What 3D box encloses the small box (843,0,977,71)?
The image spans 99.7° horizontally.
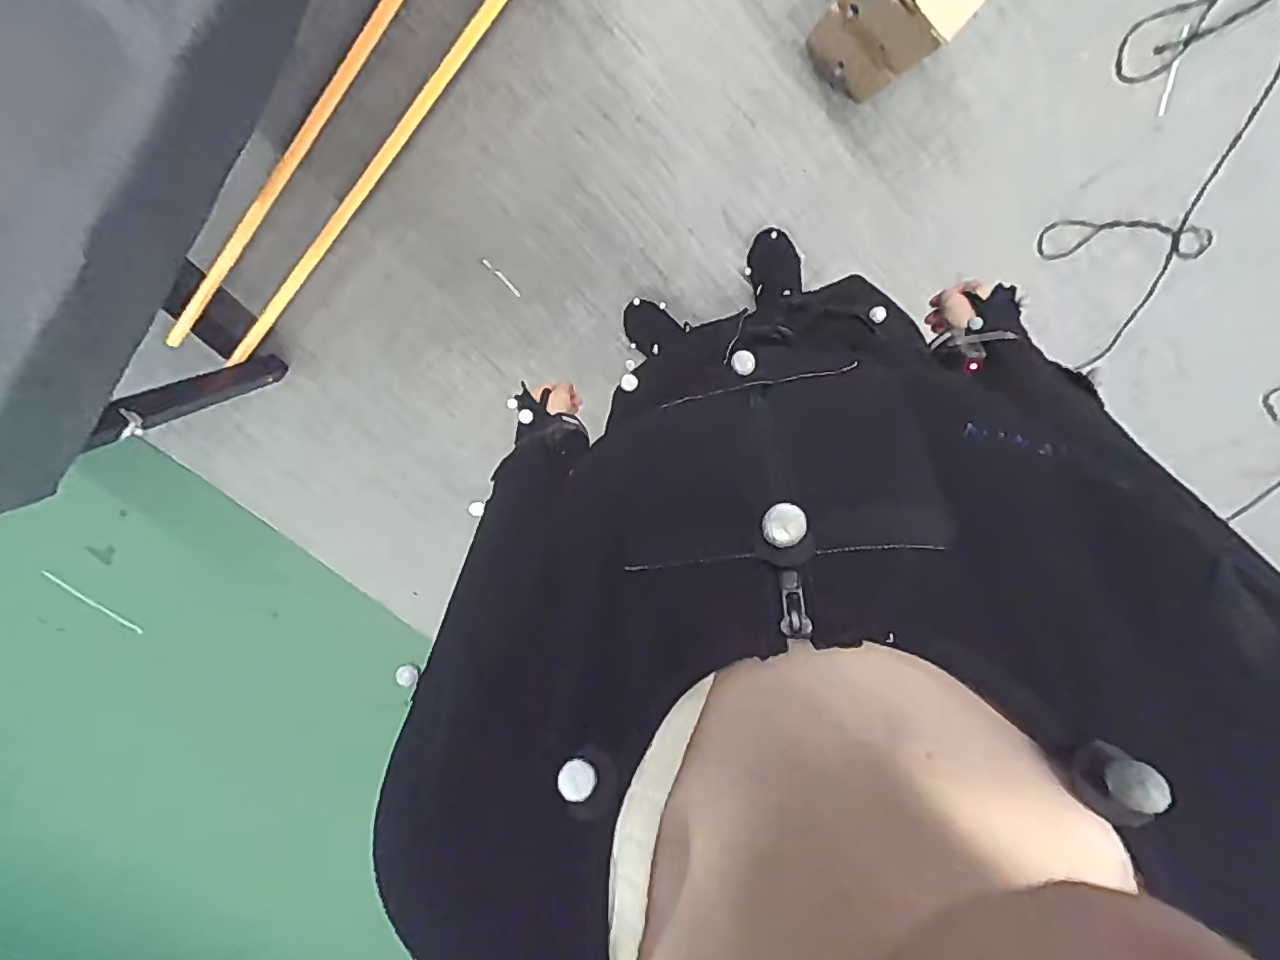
[{"bbox_3d":[0.429,-0.768,0.807,0.168,0.176,0.179,38,108,-14],"label":"small box"}]

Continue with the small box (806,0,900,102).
[{"bbox_3d":[0.425,-0.825,0.962,0.168,0.176,0.179,38,110,-13],"label":"small box"}]
